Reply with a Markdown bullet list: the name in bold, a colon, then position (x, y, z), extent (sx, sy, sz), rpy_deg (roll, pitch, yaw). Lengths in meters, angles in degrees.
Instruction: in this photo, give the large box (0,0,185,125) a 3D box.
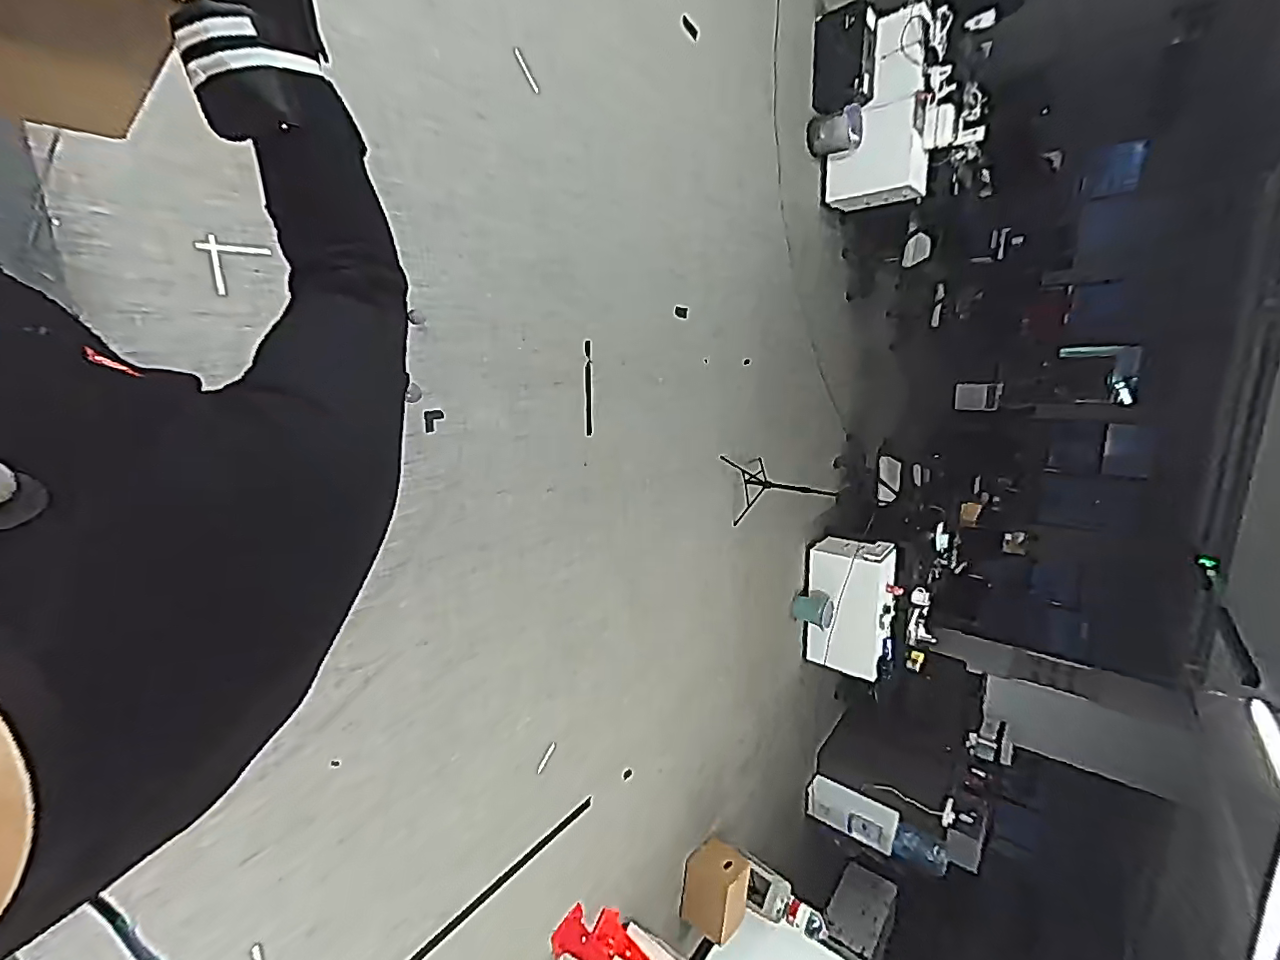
- **large box**: position (-0.533, -0.432, 0.258), extent (0.408, 0.320, 0.320), rpy_deg (-18, 111, -48)
